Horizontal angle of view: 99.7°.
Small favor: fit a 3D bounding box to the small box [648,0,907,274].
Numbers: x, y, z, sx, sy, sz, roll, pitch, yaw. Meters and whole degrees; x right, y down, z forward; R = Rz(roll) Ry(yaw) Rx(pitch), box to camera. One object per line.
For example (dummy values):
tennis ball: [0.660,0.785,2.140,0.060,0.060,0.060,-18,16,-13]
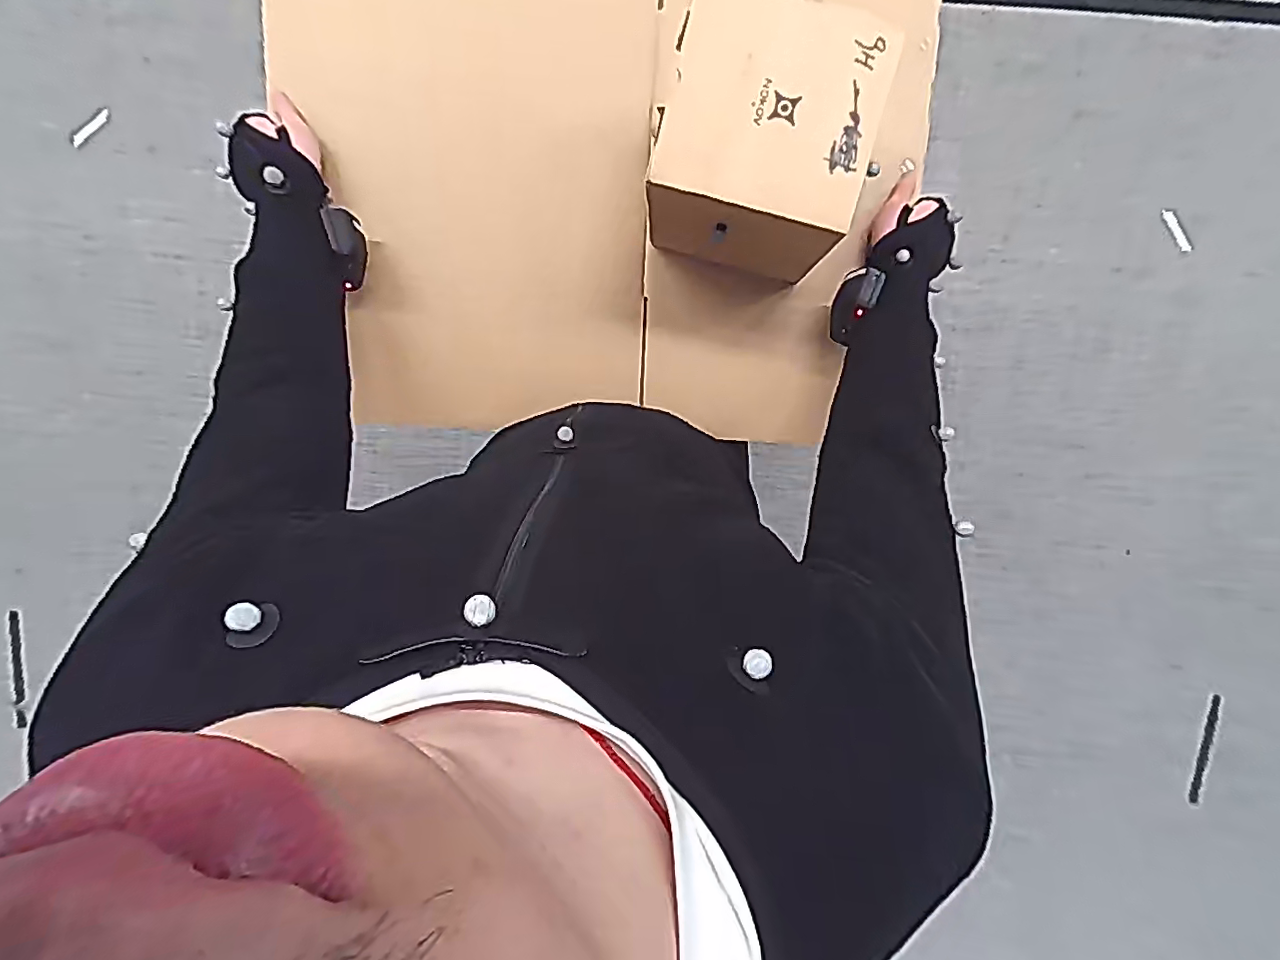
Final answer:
small box: [0.115,-0.317,0.524,0.179,0.176,0.168,15,98,1]
